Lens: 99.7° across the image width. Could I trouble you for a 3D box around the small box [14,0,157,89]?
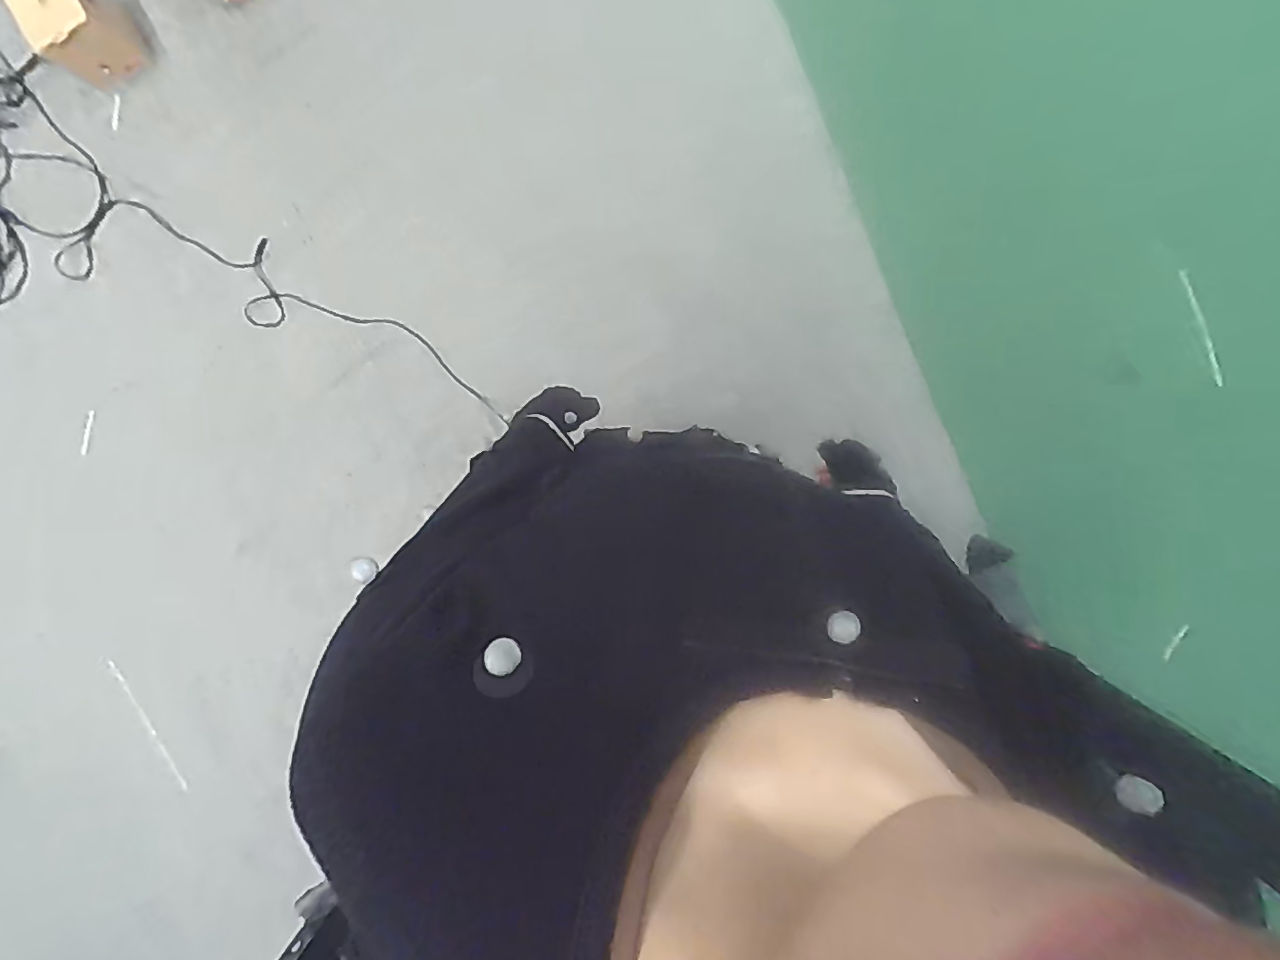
[{"bbox_3d":[-1.393,-1.147,1.361,0.168,0.176,0.179,-25,95,7],"label":"small box"}]
